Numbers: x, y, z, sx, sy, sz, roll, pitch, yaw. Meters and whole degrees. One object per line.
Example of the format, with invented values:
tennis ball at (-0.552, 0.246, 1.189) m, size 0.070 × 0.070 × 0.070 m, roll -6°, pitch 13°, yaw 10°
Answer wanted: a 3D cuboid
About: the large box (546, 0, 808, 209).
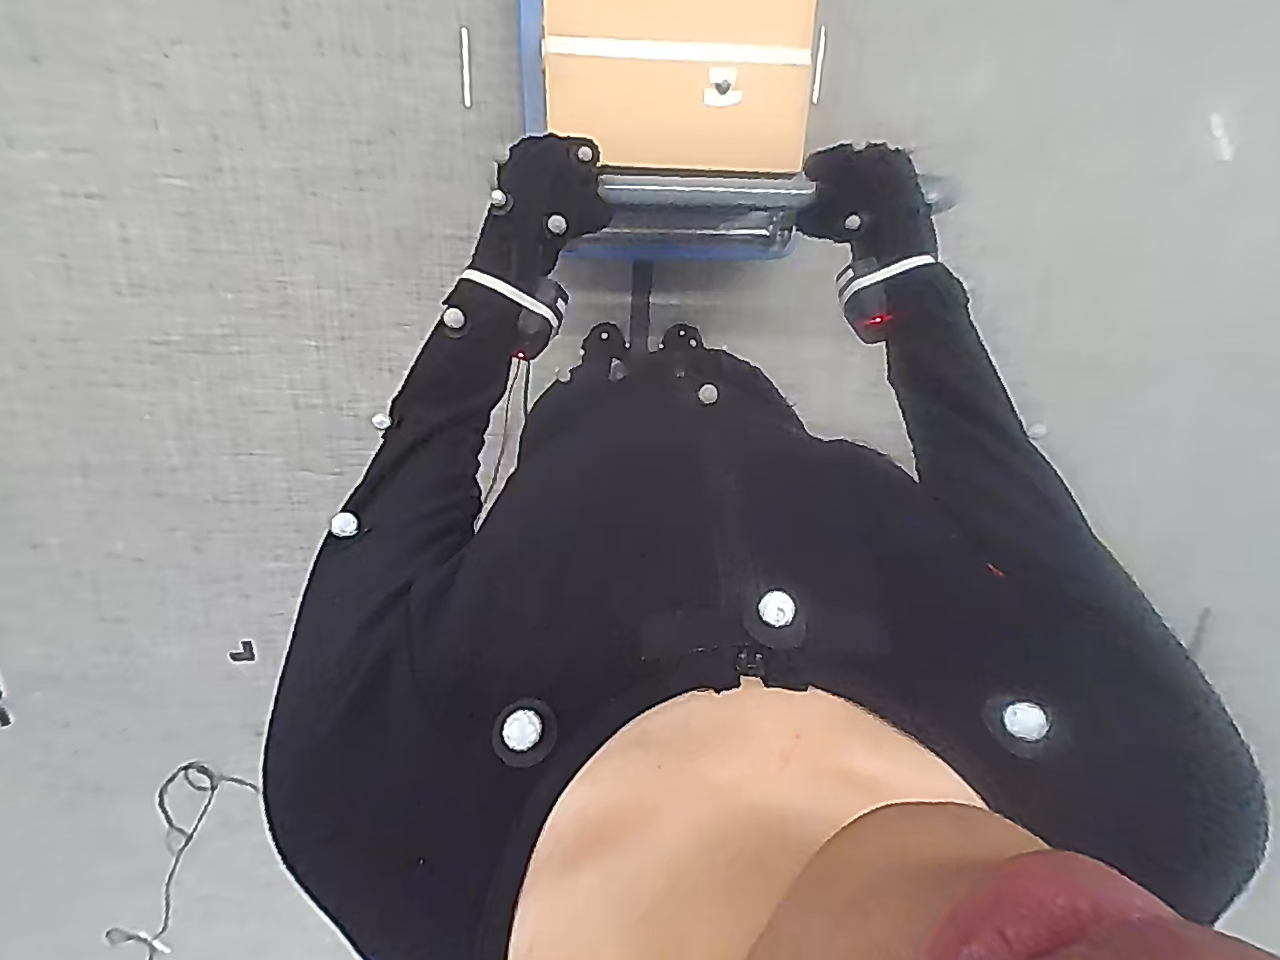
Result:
large box at (0.046, -0.690, 0.974) m, size 0.408 × 0.320 × 0.320 m, roll 0°, pitch 106°, yaw -5°
